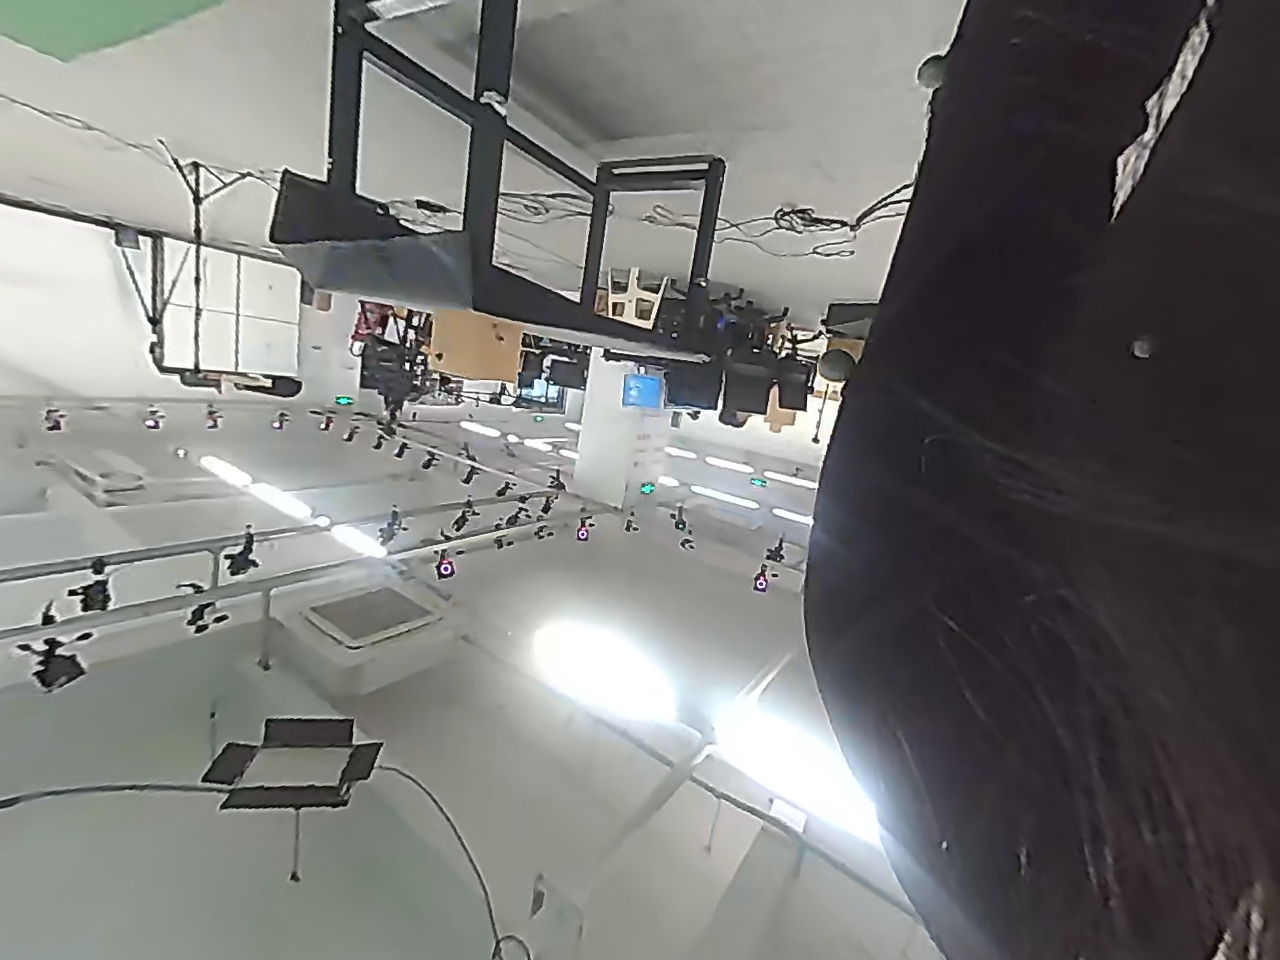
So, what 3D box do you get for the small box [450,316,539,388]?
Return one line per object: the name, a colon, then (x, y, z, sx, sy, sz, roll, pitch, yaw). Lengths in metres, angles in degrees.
small box: (-0.399, -0.357, 1.505, 0.179, 0.176, 0.168, 17, -165, 32)
